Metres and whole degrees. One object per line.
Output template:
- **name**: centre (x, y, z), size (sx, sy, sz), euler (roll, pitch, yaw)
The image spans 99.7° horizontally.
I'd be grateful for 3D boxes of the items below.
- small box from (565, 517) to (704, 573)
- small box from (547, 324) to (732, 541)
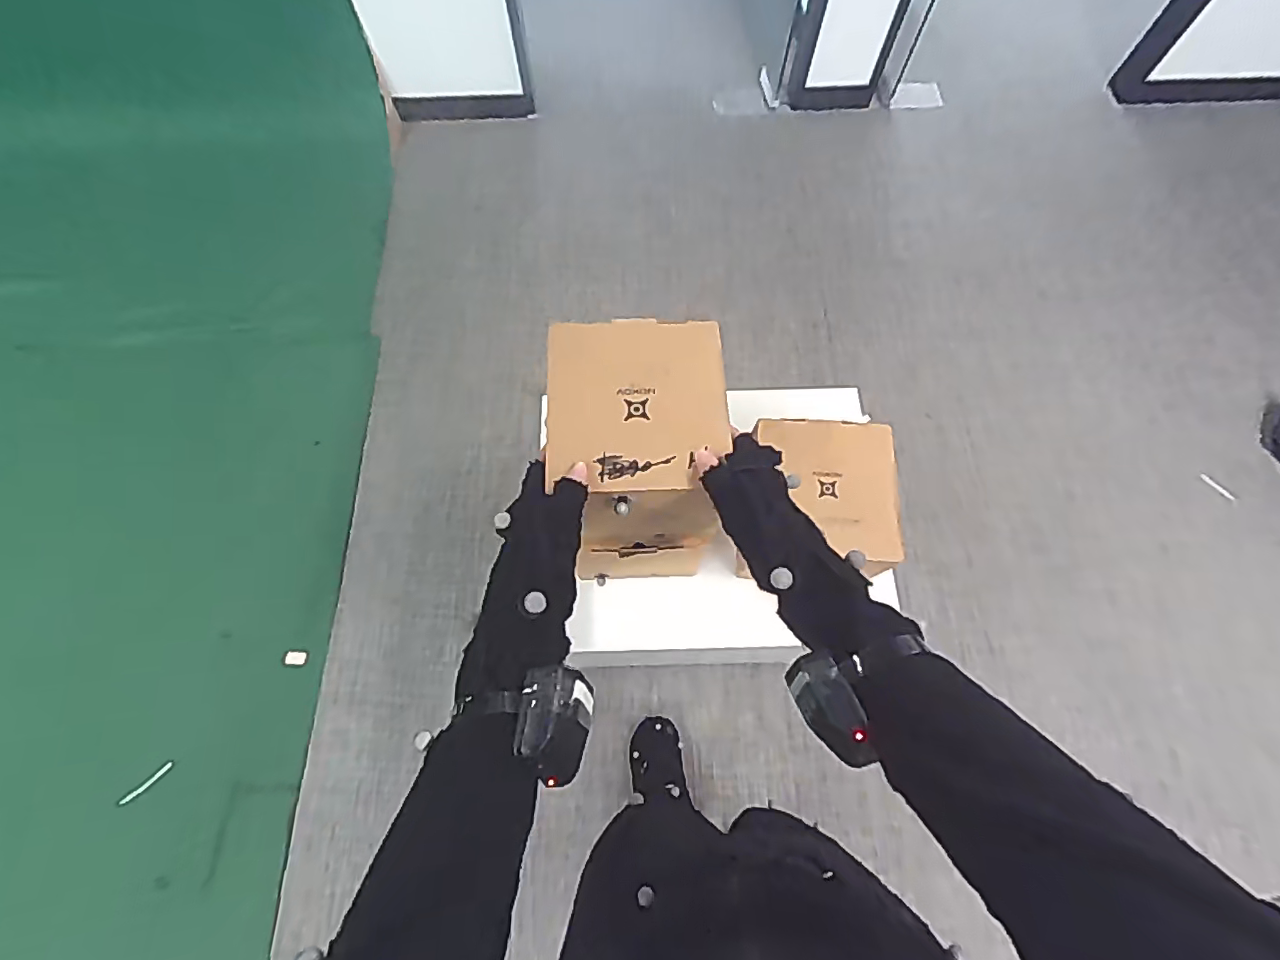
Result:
- **small box**: centre (-0.007, 0.026, 0.726), size (0.168, 0.176, 0.179), euler (-2, 68, -1)
- **small box**: centre (-0.003, -0.043, 0.577), size (0.168, 0.176, 0.179), euler (-2, 68, -1)
